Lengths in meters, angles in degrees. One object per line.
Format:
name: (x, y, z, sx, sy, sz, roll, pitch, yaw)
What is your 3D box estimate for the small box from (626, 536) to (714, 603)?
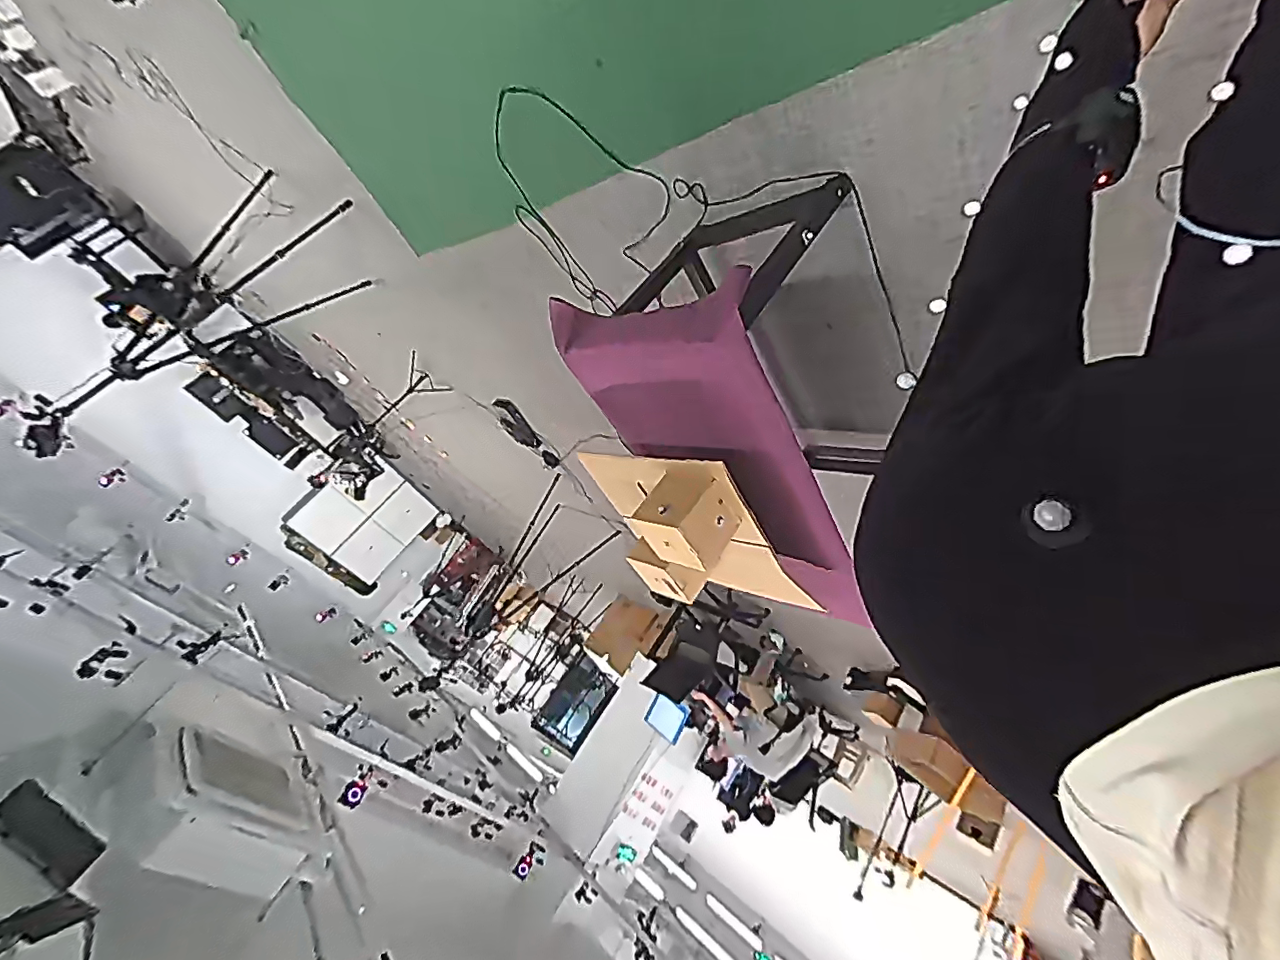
small box: (0.098, 0.233, 1.610, 0.179, 0.176, 0.168, 8, 141, 50)

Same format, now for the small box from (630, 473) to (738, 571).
small box: (0.115, 0.098, 1.364, 0.179, 0.176, 0.168, 6, 140, 48)
